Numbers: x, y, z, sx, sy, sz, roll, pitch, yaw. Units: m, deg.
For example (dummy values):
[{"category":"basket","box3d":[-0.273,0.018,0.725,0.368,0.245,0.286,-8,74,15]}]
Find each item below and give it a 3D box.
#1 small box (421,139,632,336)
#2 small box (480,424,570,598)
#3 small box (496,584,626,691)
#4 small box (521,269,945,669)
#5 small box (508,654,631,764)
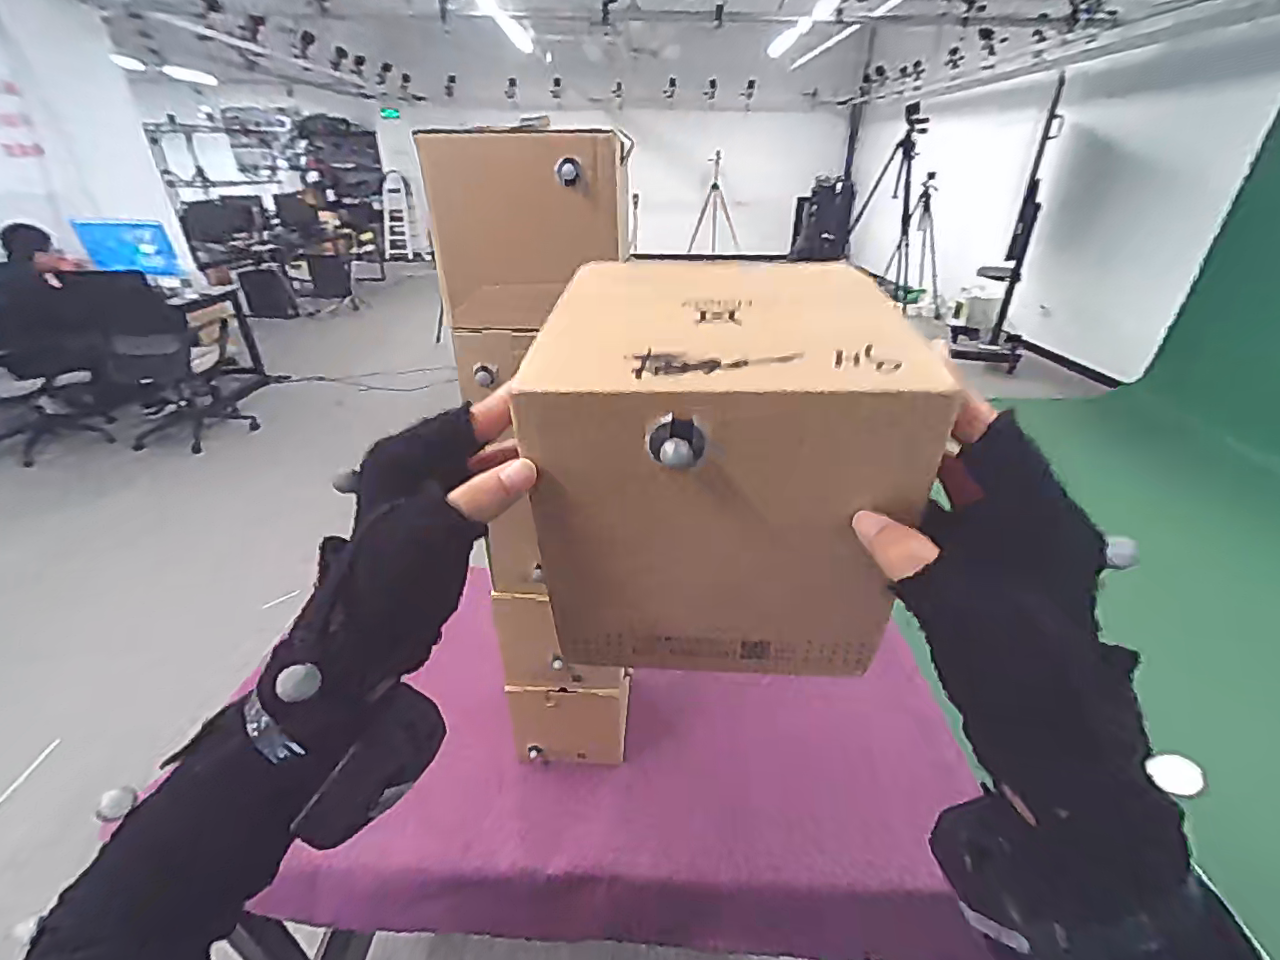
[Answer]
[{"category":"small box","box3d":[-0.101,-0.251,0.570,0.179,0.176,0.168,2,28,2]},{"category":"small box","box3d":[-0.100,0.038,0.723,0.168,0.176,0.179,1,29,3]},{"category":"small box","box3d":[-0.101,0.182,0.799,0.168,0.176,0.179,1,30,3]},{"category":"small box","box3d":[0.043,-0.017,0.319,0.168,0.176,0.179,0,34,6]},{"category":"small box","box3d":[-0.102,0.329,0.872,0.168,0.176,0.179,2,29,3]}]
